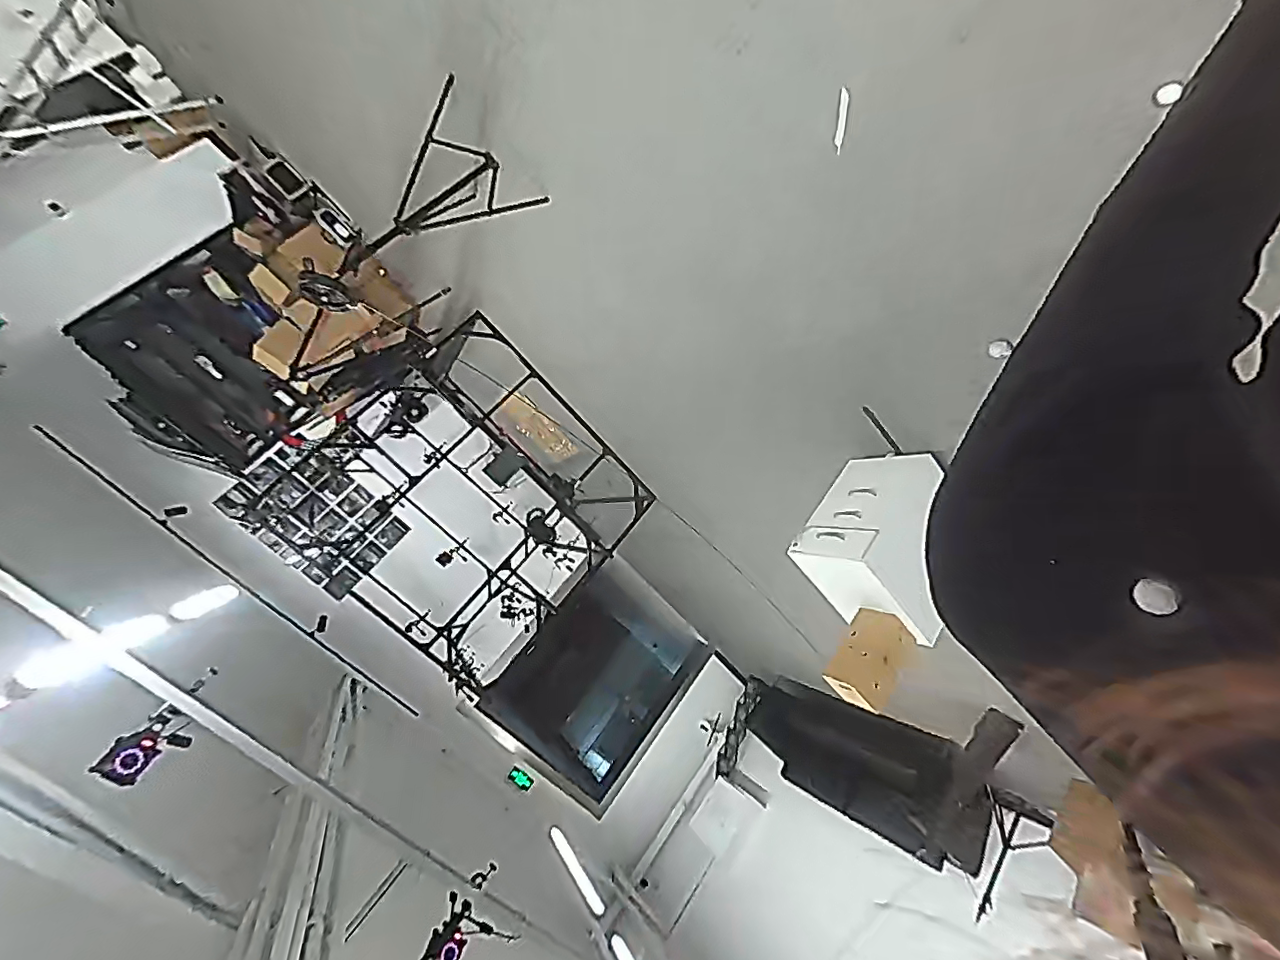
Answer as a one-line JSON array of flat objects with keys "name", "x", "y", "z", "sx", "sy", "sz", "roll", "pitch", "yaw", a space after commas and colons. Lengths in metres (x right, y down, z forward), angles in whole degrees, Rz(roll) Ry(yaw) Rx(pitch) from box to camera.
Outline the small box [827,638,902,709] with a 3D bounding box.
[{"name": "small box", "x": 0.866, "y": 0.736, "z": 2.079, "sx": 0.179, "sy": 0.176, "sz": 0.168, "roll": 46, "pitch": 161, "yaw": -17}]

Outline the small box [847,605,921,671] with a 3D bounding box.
[{"name": "small box", "x": 0.965, "y": 0.617, "z": 2.136, "sx": 0.168, "sy": 0.176, "sz": 0.179, "roll": 46, "pitch": 161, "yaw": -16}]
